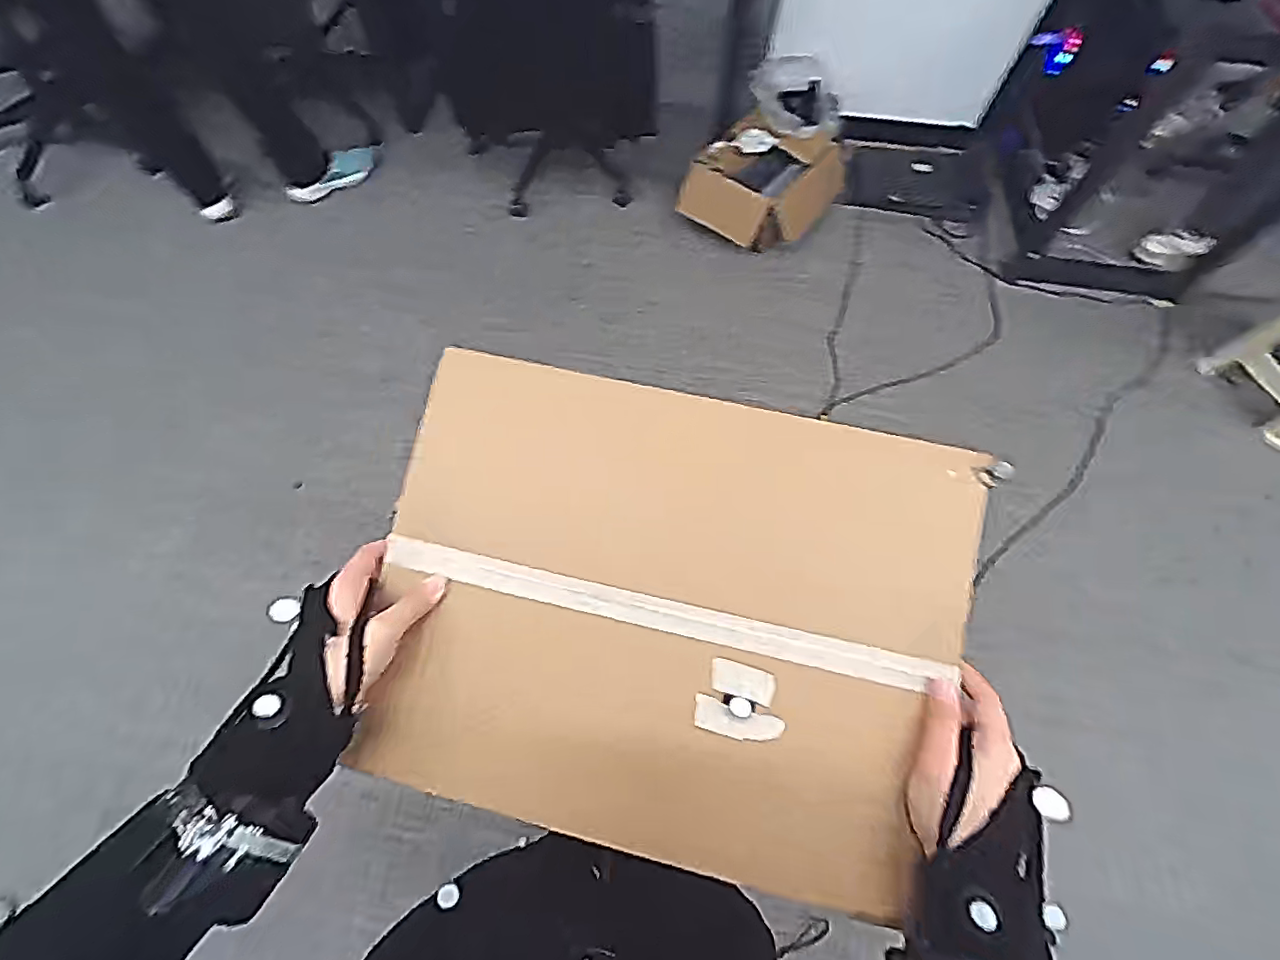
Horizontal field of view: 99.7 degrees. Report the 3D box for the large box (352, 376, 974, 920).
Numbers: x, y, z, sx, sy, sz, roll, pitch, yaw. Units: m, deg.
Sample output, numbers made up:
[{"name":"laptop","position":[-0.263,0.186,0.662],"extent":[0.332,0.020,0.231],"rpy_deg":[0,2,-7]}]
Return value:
[{"name":"large box","position":[0.024,0.124,0.535],"extent":[0.408,0.320,0.320],"rpy_deg":[12,84,5]}]
